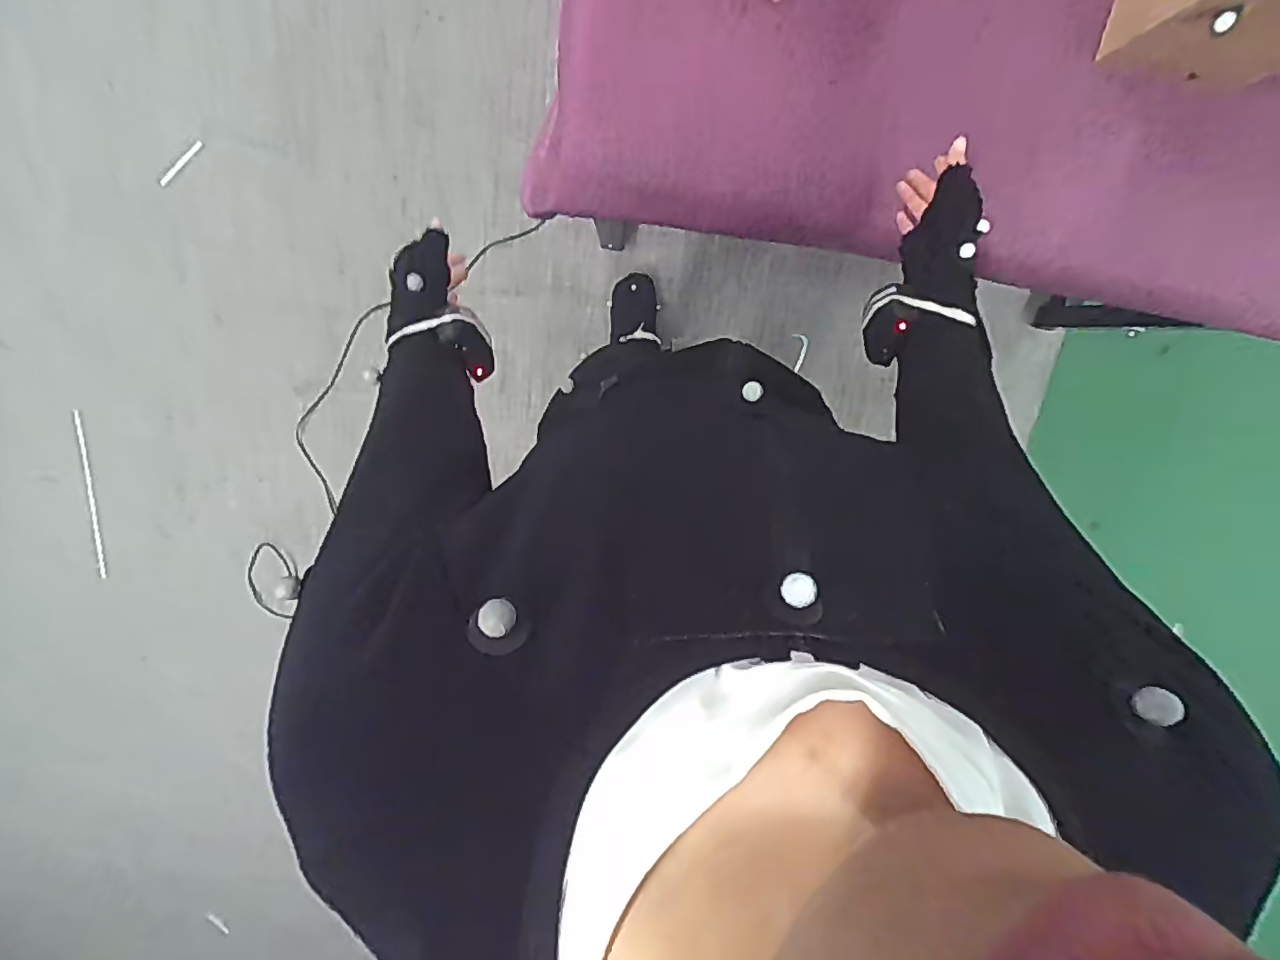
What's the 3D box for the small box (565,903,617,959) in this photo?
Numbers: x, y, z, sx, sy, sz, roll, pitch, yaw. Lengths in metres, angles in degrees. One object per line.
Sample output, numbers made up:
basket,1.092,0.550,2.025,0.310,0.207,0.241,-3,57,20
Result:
small box,-0.162,1.527,1.769,0.168,0.176,0.179,1,106,-4
